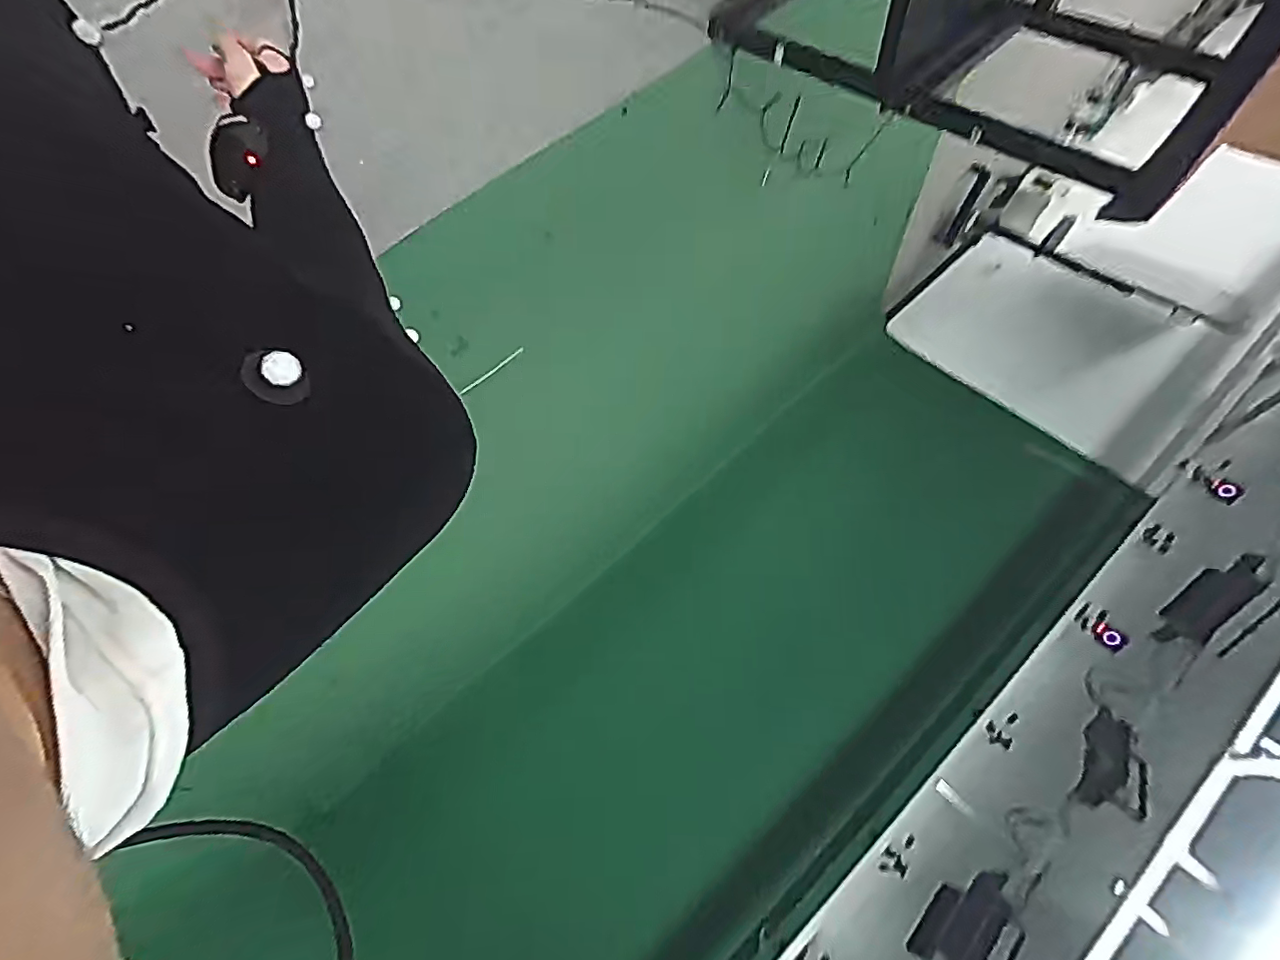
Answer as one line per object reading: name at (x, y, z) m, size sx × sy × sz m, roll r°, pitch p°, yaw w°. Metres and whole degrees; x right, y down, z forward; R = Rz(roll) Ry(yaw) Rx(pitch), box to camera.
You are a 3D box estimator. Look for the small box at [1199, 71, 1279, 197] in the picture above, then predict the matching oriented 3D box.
small box at (1.322, -0.719, 1.099) m, size 0.168 × 0.176 × 0.179 m, roll -39°, pitch 155°, yaw -16°
